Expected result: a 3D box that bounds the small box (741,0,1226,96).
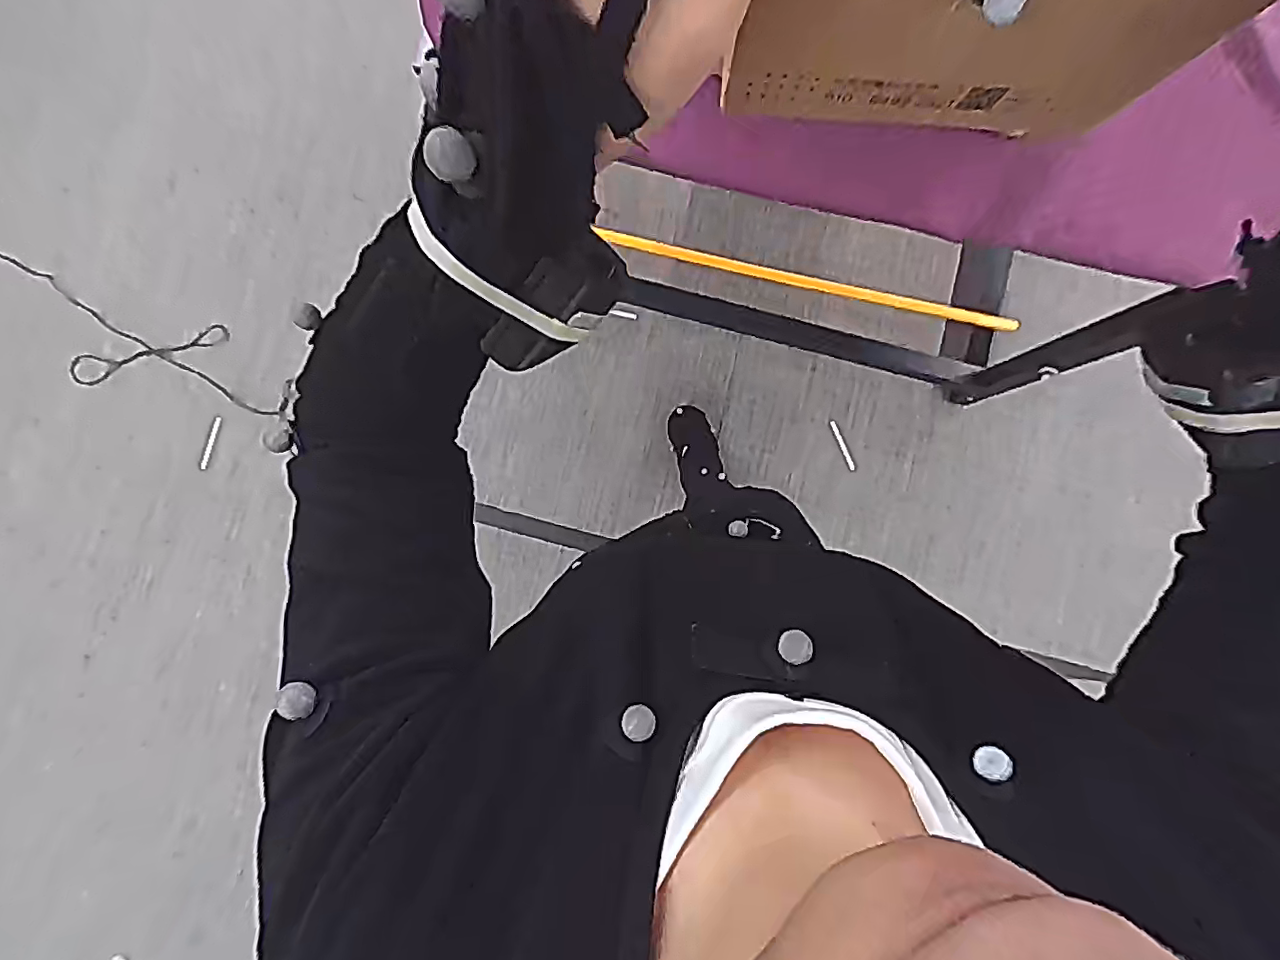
[{"bbox_3d":[0.126,-0.244,0.147,0.168,0.176,0.179,4,94,1],"label":"small box"}]
